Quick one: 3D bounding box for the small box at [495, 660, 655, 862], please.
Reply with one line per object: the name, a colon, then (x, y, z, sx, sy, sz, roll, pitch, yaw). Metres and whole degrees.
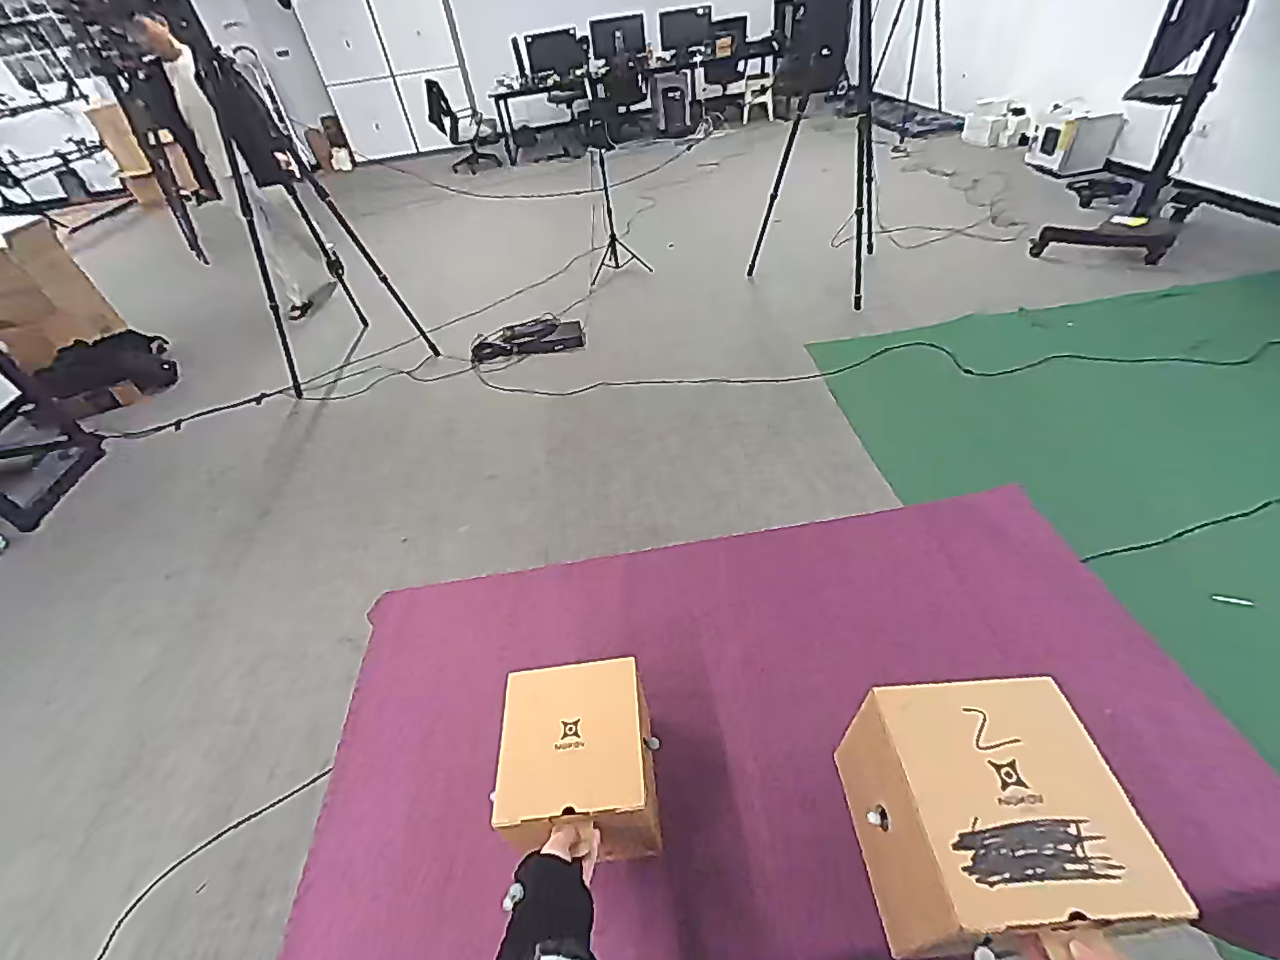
small box: (-0.074, 0.361, 0.696, 0.168, 0.176, 0.179, -8, 42, 1)
